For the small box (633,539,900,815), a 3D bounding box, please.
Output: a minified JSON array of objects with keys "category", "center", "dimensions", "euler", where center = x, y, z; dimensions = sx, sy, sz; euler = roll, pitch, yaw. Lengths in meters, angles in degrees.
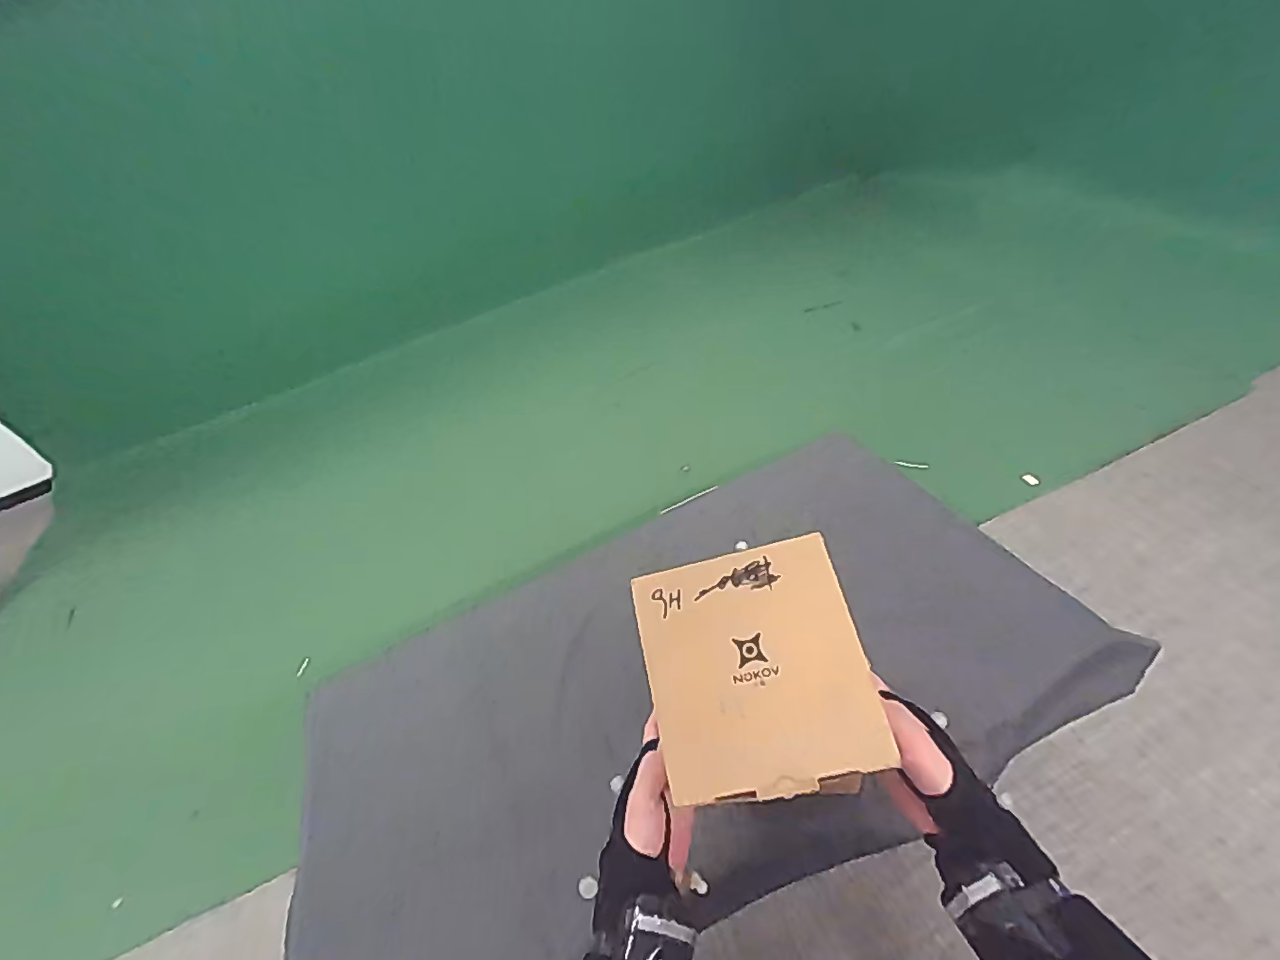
[{"category":"small box","center":[0.104,0.173,0.487],"dimensions":[0.168,0.176,0.179],"euler":[-15,66,6]}]
